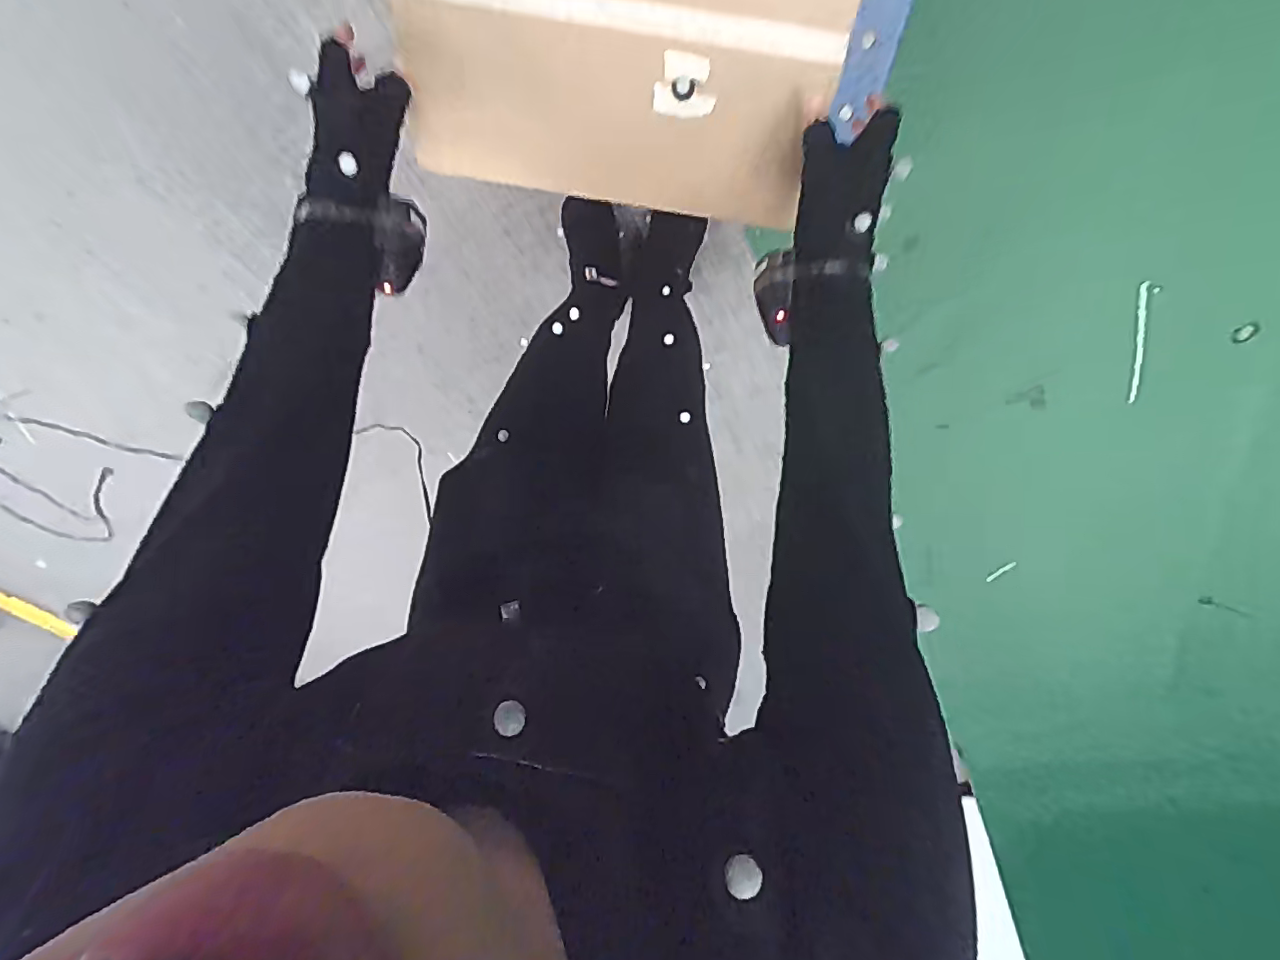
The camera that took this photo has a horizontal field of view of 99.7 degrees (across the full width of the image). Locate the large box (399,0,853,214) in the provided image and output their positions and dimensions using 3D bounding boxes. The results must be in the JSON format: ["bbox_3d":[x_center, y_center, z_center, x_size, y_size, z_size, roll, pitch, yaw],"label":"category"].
[{"bbox_3d":[-0.007,-0.522,0.578,0.408,0.320,0.320,8,135,-2],"label":"large box"}]
